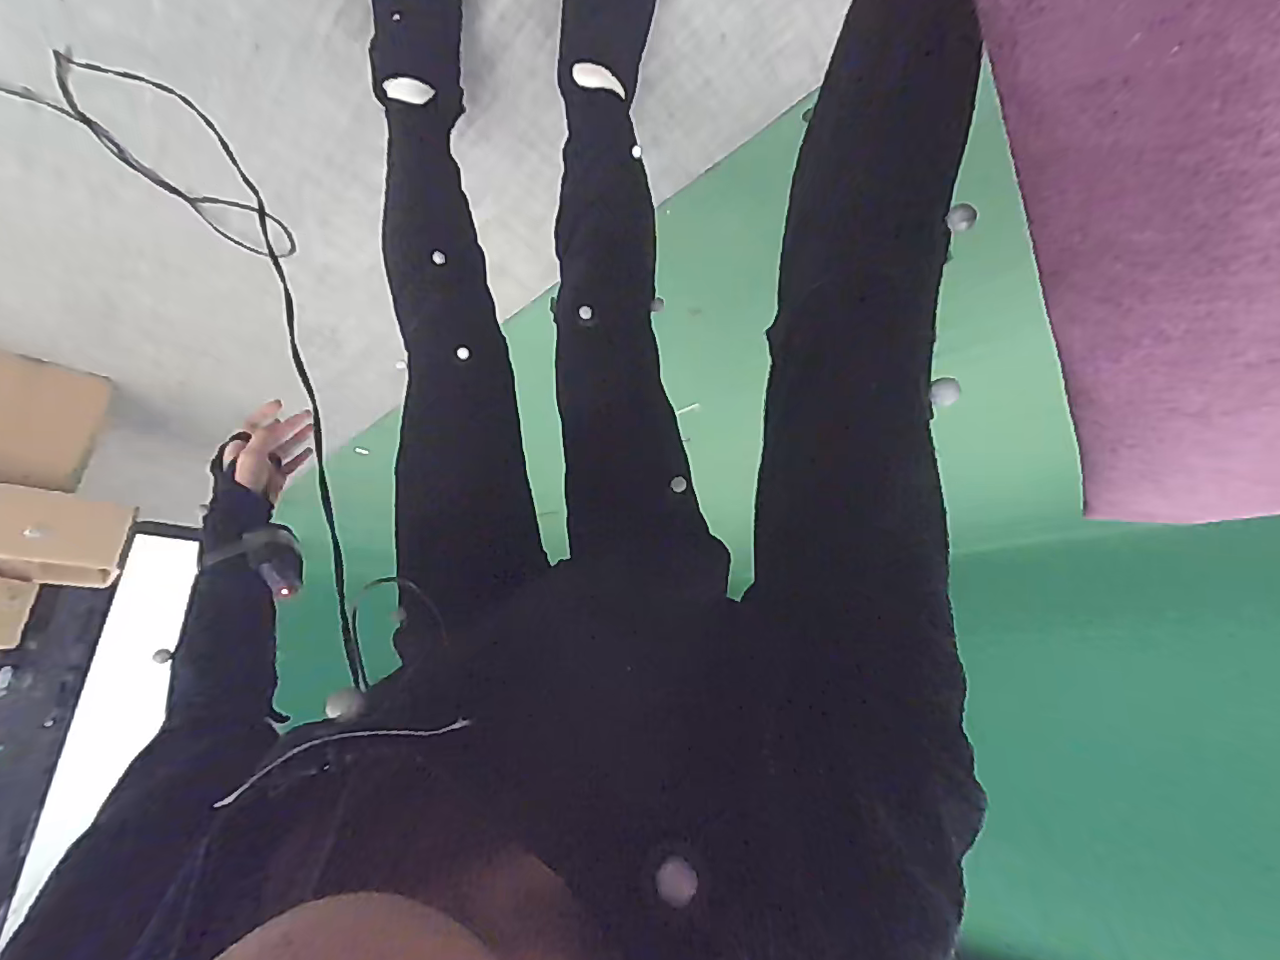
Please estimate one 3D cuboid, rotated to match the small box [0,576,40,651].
[{"bbox_3d":[-1.693,0.335,1.358,0.179,0.176,0.168,5,159,-16],"label":"small box"}]
